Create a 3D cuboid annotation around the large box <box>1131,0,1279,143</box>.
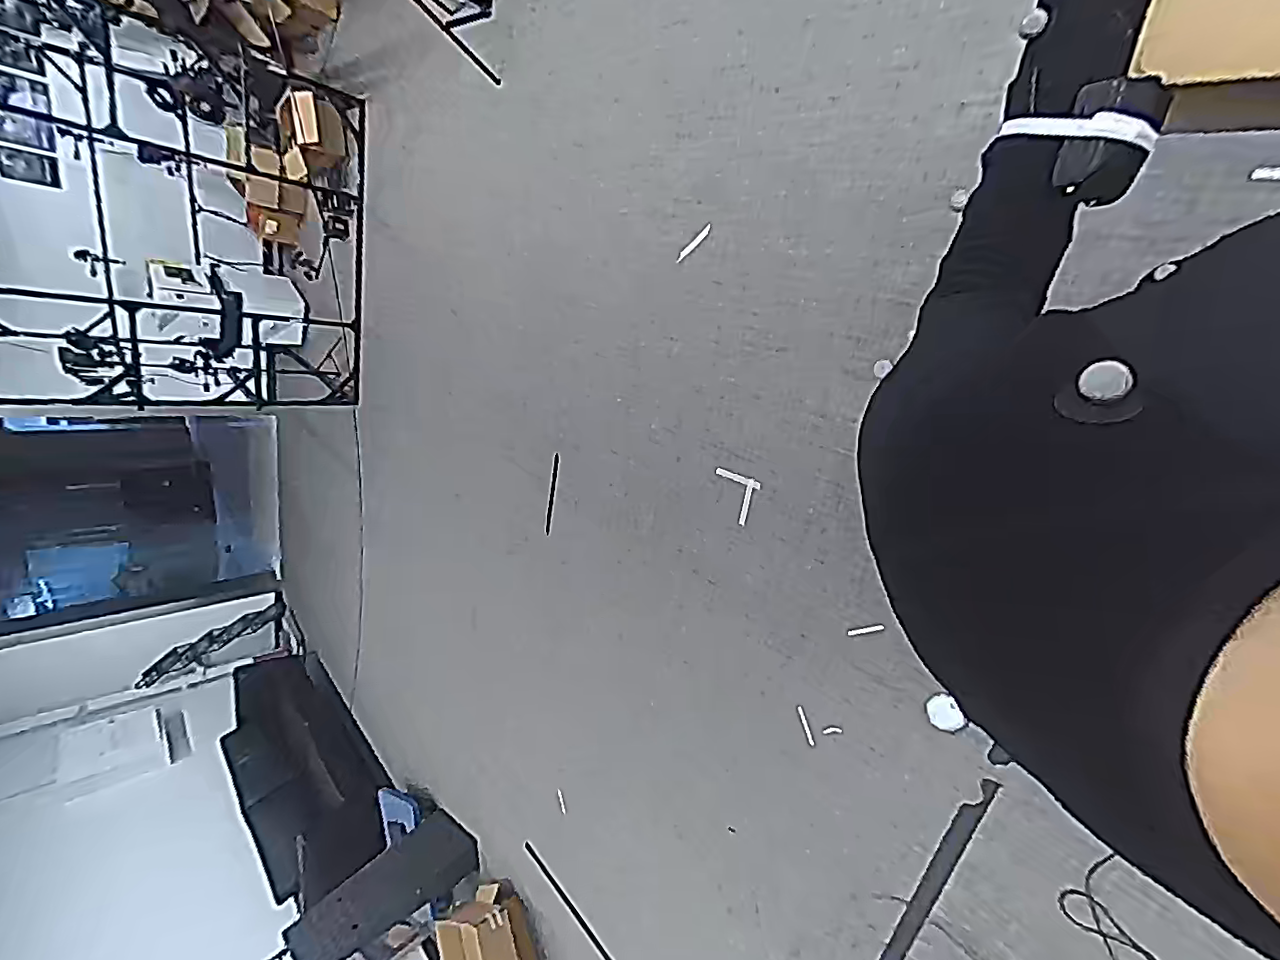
[{"bbox_3d":[0.571,-0.387,0.284,0.408,0.320,0.320,21,123,36],"label":"large box"}]
